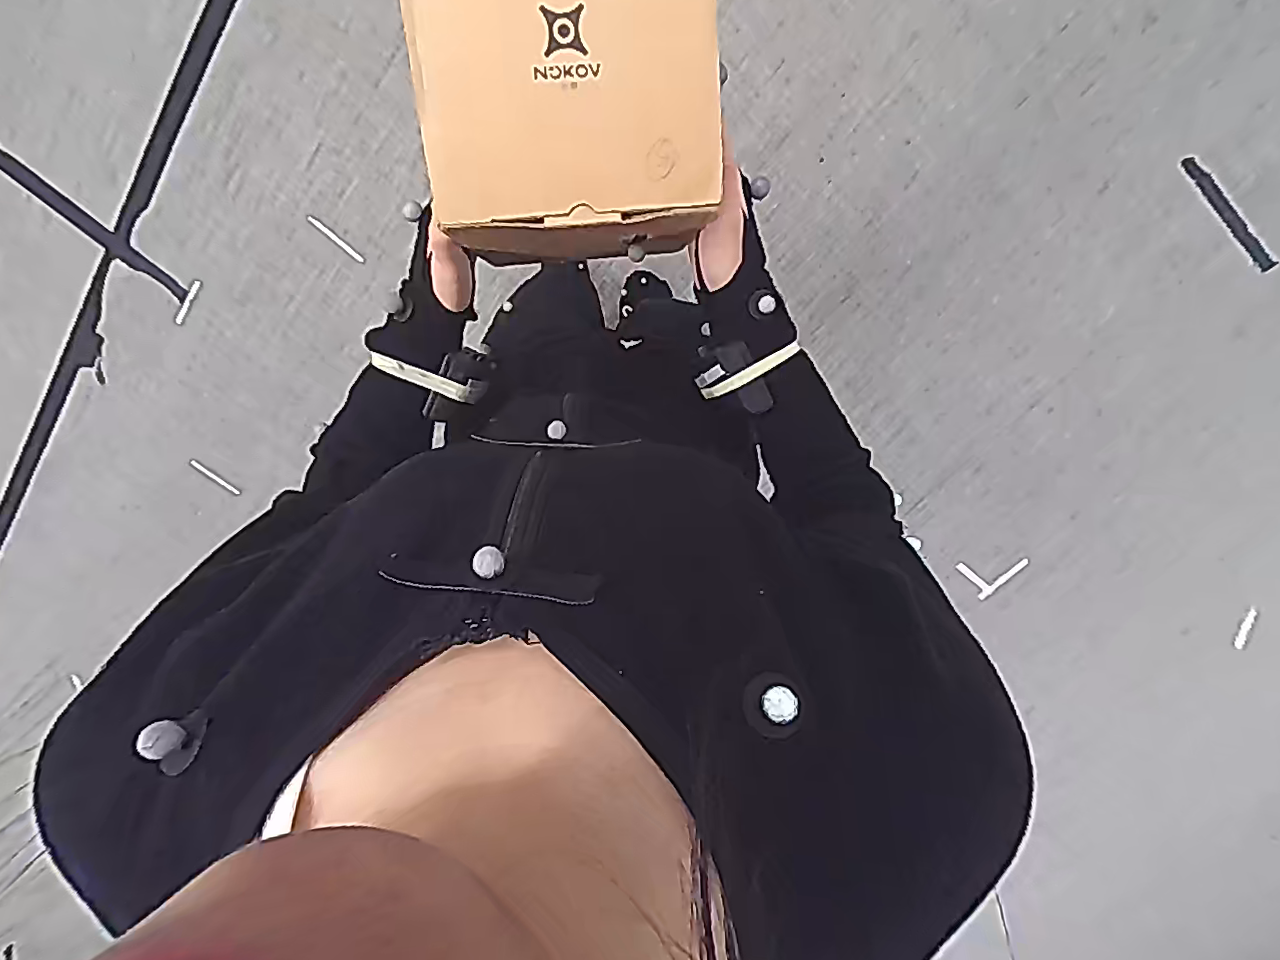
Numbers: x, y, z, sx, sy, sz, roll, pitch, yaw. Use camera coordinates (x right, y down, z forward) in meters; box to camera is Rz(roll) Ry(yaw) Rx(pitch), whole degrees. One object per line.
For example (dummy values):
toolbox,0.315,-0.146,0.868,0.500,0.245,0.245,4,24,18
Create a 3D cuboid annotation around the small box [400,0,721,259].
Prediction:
small box,-0.046,-0.252,0.362,0.168,0.176,0.179,-6,104,-4
